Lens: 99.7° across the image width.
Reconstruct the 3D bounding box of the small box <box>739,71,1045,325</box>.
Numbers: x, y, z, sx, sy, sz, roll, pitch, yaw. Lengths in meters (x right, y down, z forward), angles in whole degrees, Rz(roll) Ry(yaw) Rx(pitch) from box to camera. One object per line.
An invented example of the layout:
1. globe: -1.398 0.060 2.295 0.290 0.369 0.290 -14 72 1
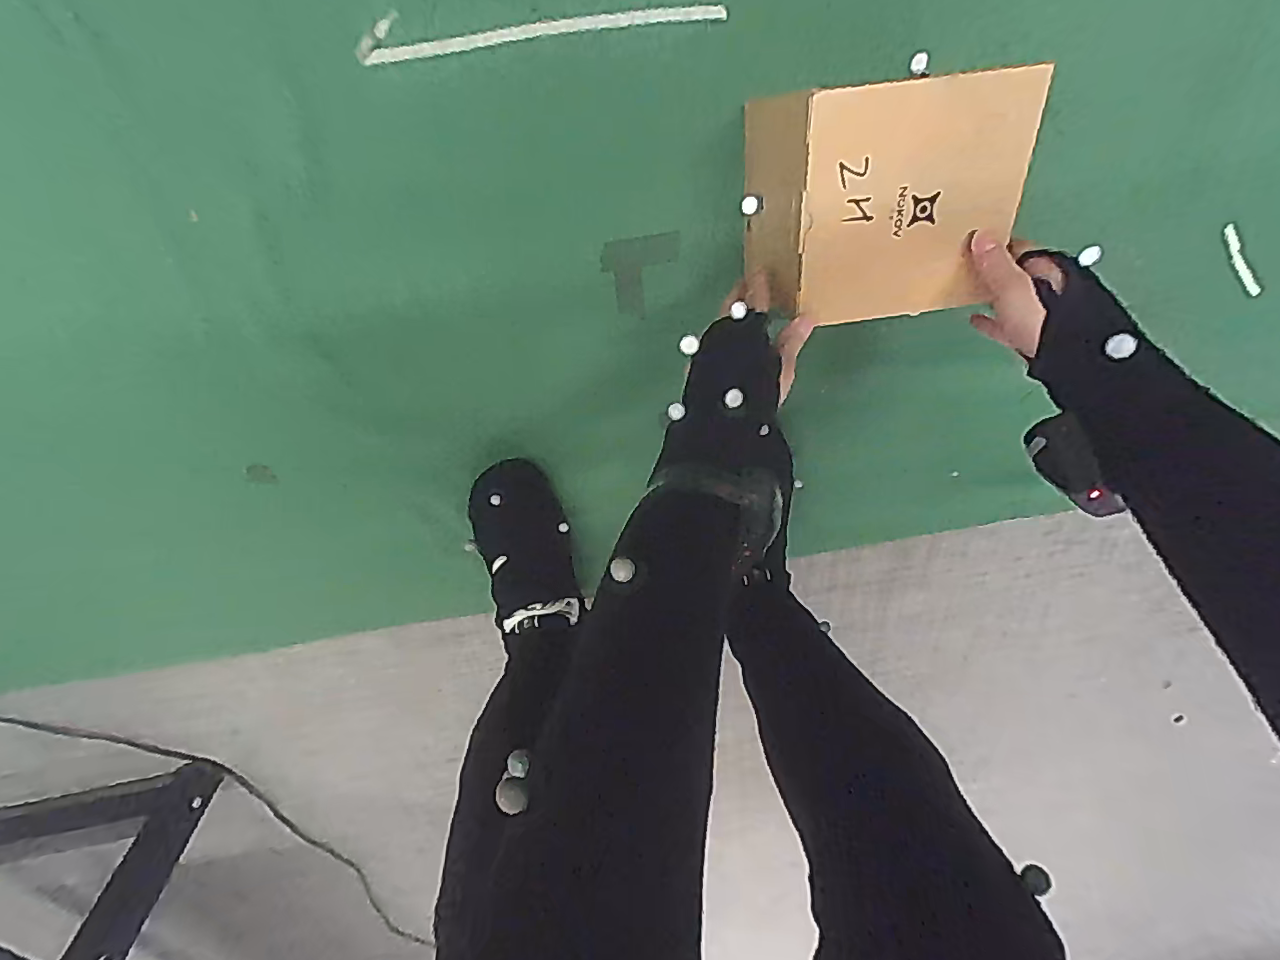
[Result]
1. small box: 0.198 -0.252 0.485 0.179 0.176 0.168 -8 122 -2
